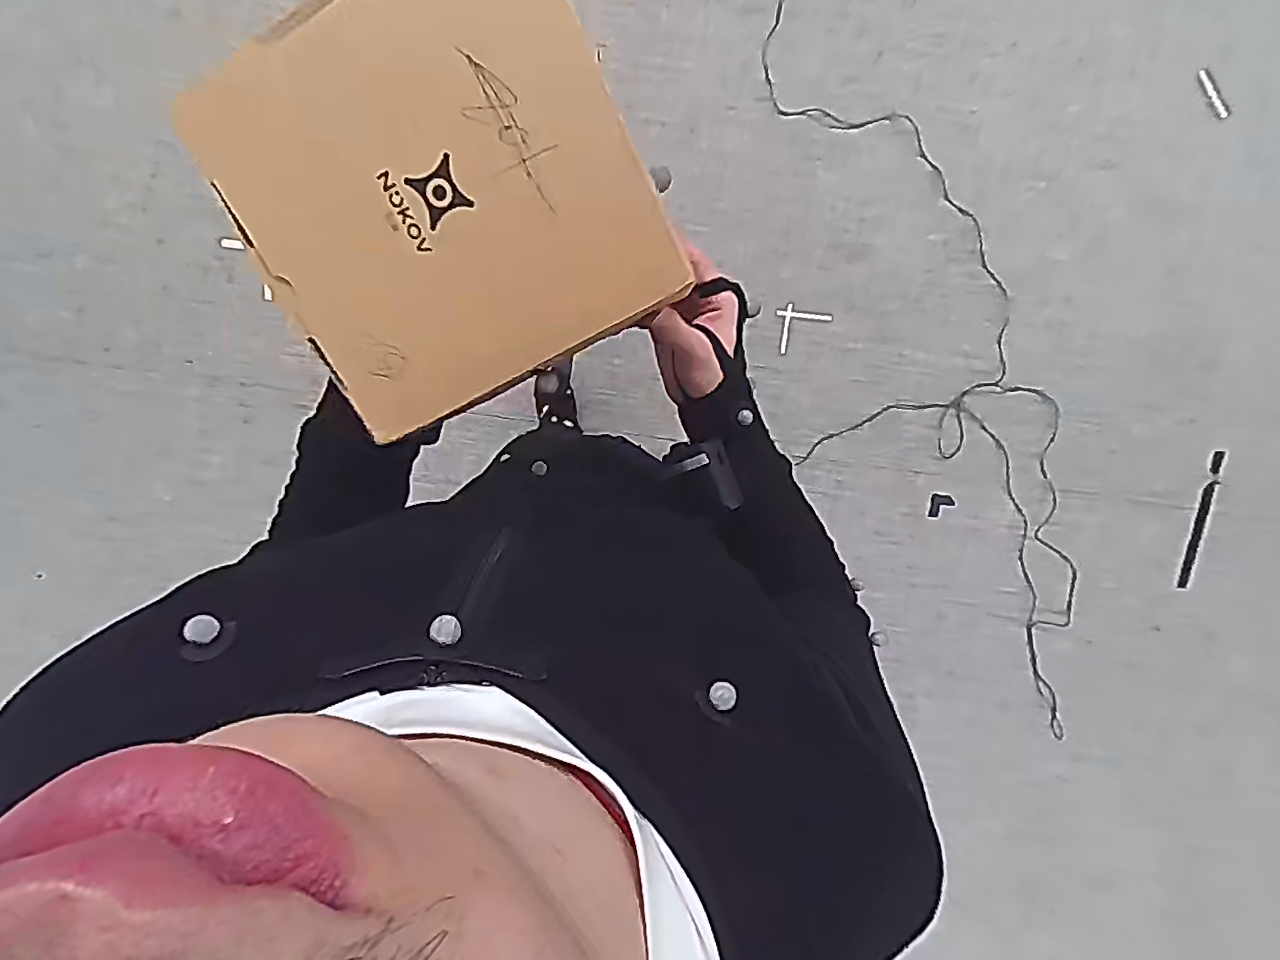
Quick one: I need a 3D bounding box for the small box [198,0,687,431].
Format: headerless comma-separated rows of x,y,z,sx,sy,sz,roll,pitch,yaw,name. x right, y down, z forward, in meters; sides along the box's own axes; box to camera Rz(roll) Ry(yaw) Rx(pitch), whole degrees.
-0.083,-0.151,0.322,0.179,0.176,0.168,-26,104,11,small box
